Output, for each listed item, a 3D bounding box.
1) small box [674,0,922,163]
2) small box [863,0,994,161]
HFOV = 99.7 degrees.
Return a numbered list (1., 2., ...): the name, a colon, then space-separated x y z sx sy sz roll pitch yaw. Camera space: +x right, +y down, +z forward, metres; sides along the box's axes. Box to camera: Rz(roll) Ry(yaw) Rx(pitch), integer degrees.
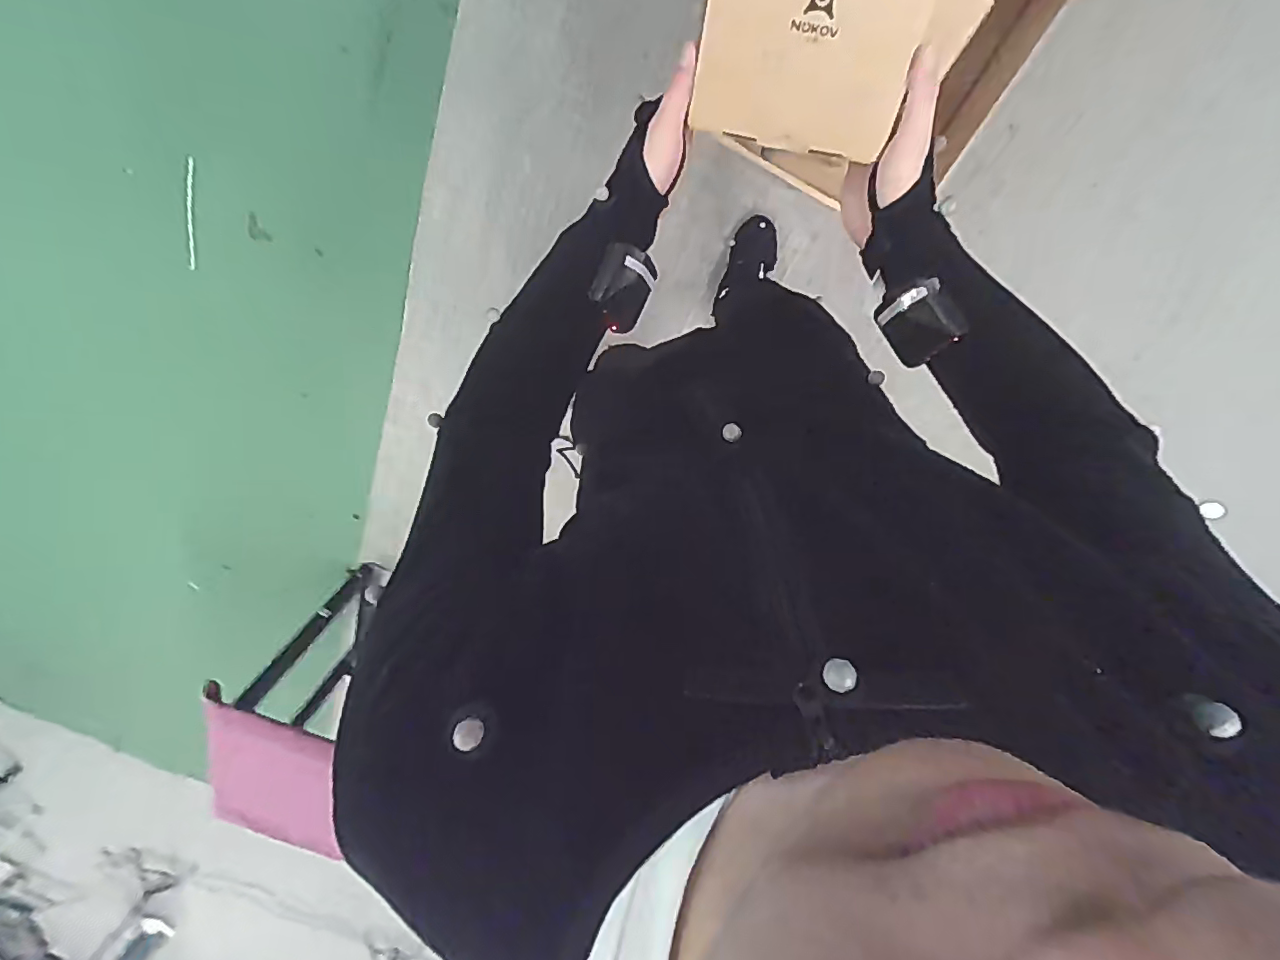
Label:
1. small box: 0.129 -0.393 0.459 0.168 0.176 0.179 10 128 1
2. small box: 0.278 -0.523 0.670 0.168 0.176 0.179 29 119 -7
